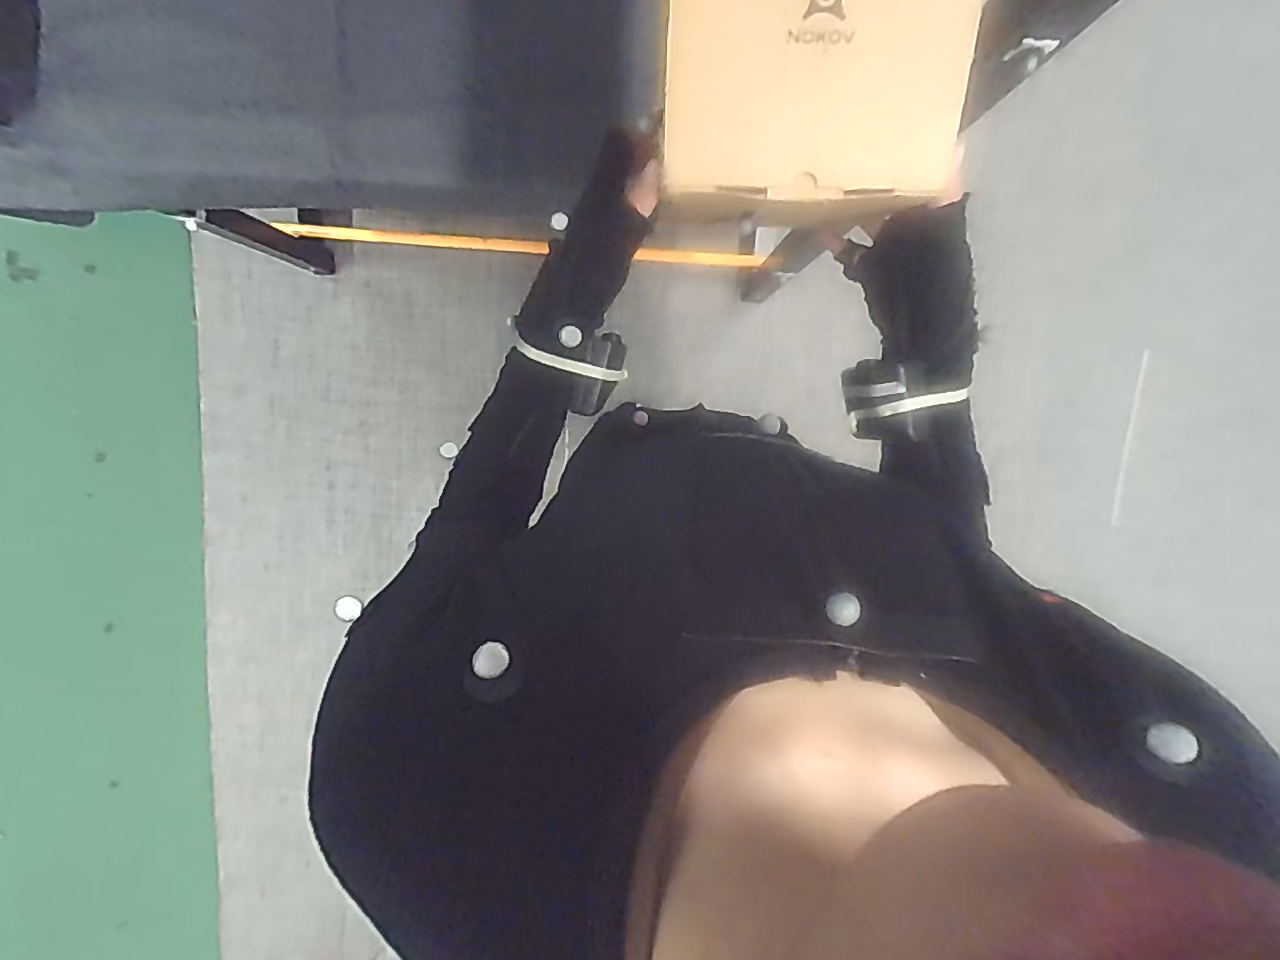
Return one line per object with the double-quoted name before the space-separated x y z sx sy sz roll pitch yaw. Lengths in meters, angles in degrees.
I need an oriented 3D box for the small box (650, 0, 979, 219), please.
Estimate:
"small box" 0.092 -0.278 0.351 0.168 0.176 0.179 1 110 0
